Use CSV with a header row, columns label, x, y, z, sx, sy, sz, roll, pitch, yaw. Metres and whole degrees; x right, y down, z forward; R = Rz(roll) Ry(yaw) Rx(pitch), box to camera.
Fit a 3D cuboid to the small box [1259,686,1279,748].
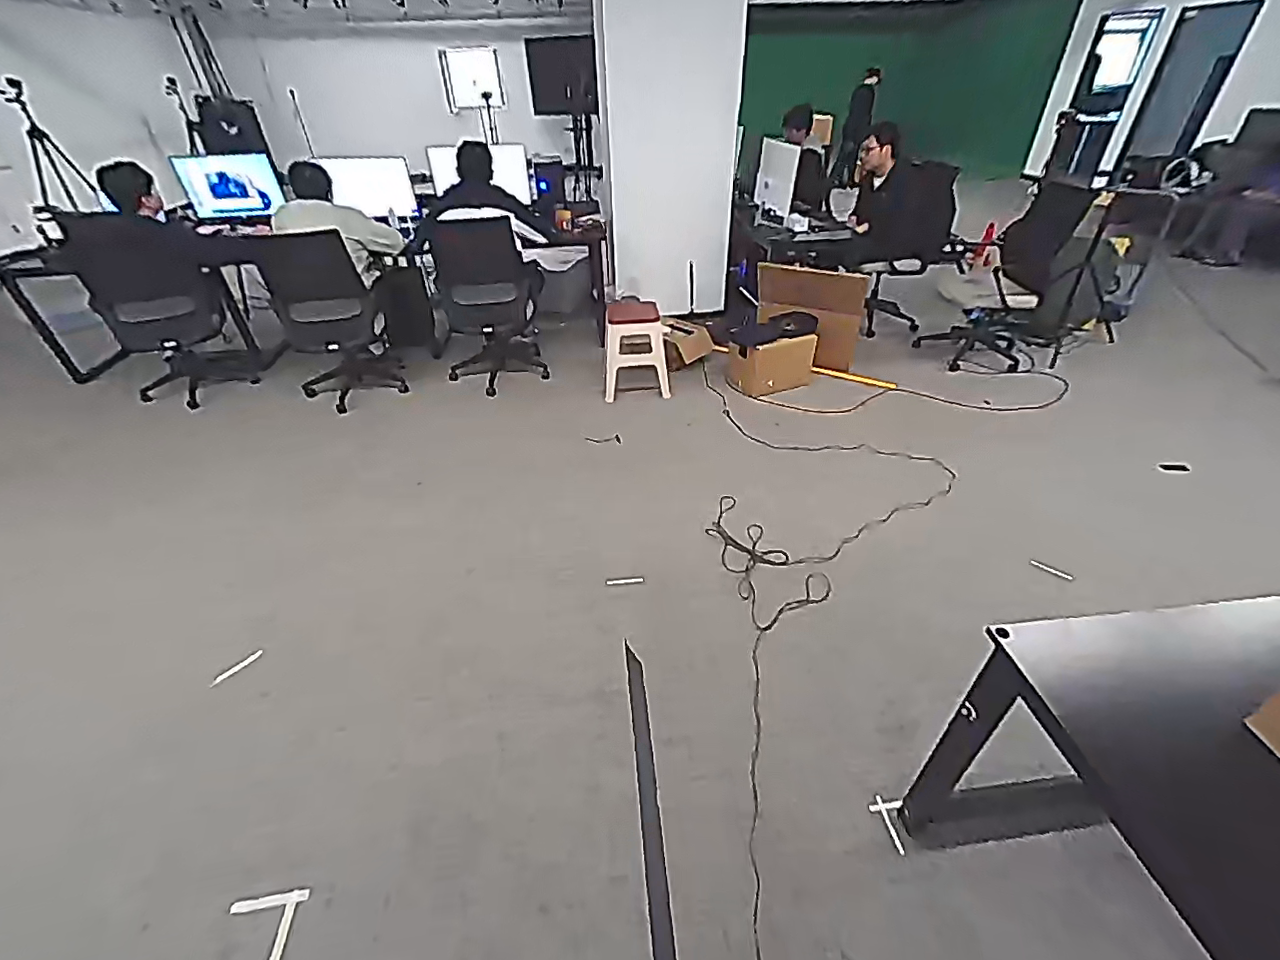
label,x,y,z,sx,sy,sz,roll,pitch,yaw
small box,0.994,0.336,0.705,0.179,0.176,0.168,-3,37,-2
